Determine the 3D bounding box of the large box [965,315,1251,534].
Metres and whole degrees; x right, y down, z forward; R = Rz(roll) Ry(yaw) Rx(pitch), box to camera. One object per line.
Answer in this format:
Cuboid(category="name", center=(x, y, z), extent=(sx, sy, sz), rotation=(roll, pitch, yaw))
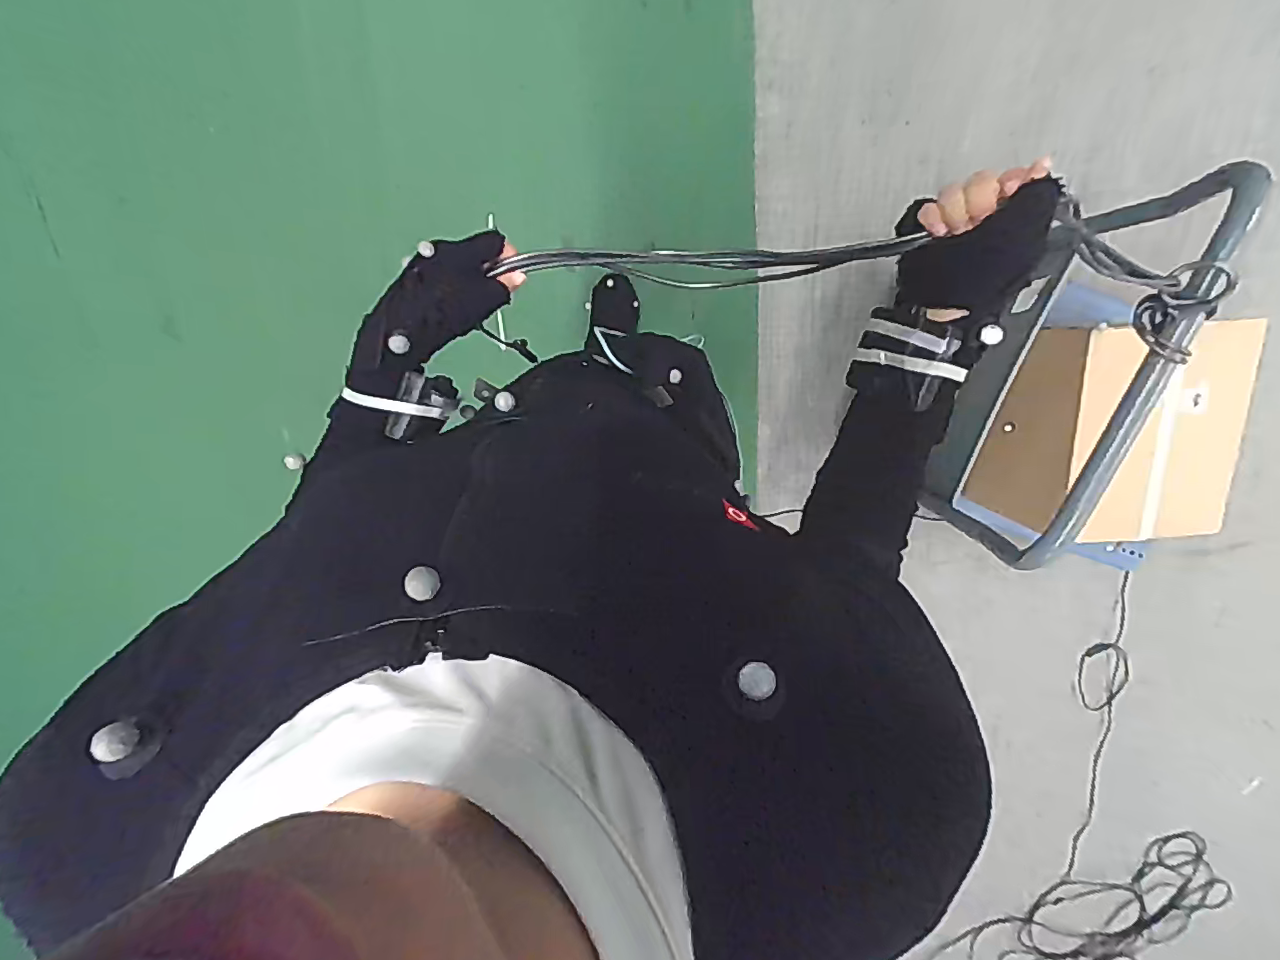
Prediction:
Cuboid(category="large box", center=(0.945, -0.128, 1.153), extent=(0.320, 0.320, 0.408), rotation=(-3, 105, 0))
